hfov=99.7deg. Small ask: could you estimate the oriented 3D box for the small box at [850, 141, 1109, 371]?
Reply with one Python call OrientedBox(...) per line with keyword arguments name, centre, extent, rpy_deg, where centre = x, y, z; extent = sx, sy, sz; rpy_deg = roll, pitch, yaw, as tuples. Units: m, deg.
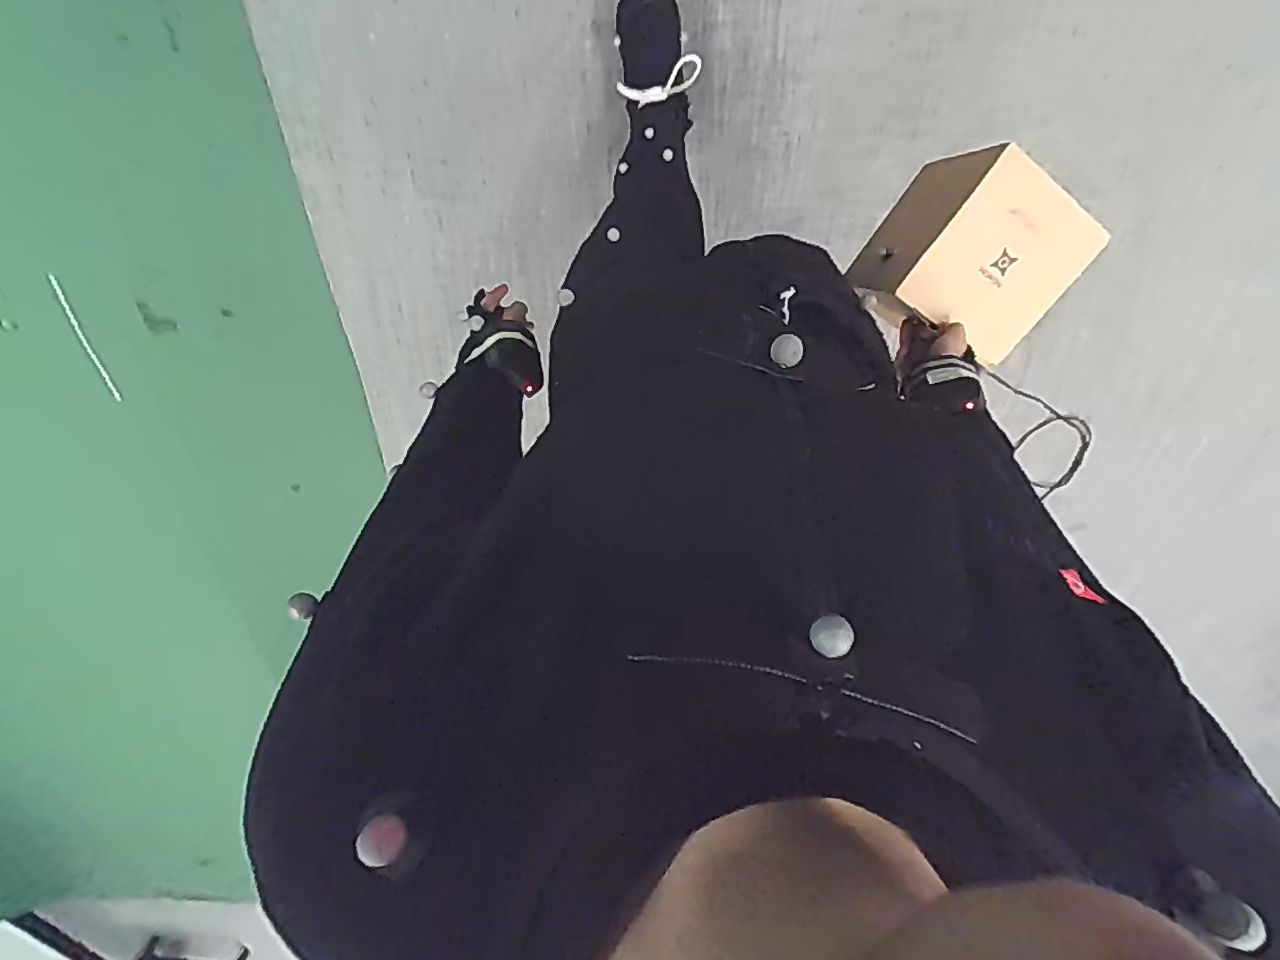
OrientedBox(name="small box", centre=(0.384, -0.262, 0.656), extent=(0.168, 0.176, 0.179), rpy_deg=(30, 108, -15))
